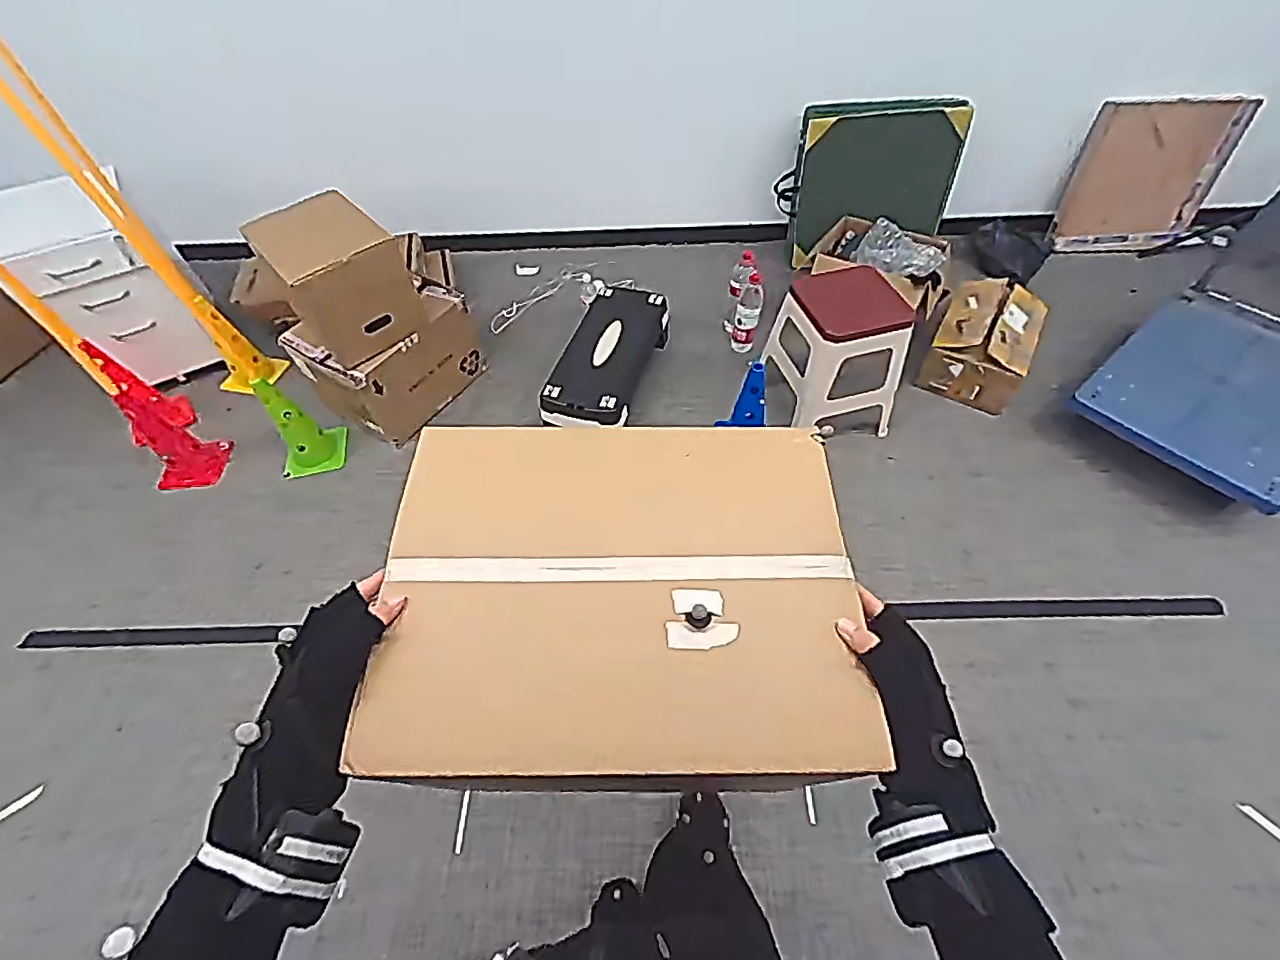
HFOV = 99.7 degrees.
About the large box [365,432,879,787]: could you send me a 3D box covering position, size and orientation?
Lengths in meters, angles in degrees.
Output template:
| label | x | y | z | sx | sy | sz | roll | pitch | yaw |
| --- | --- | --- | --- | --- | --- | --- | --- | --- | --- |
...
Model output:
| label | x | y | z | sx | sy | sz | roll | pitch | yaw |
| --- | --- | --- | --- | --- | --- | --- | --- | --- | --- |
| large box | -0.018 | 0.159 | 0.616 | 0.408 | 0.320 | 0.320 | 0 | 58 | -1 |
